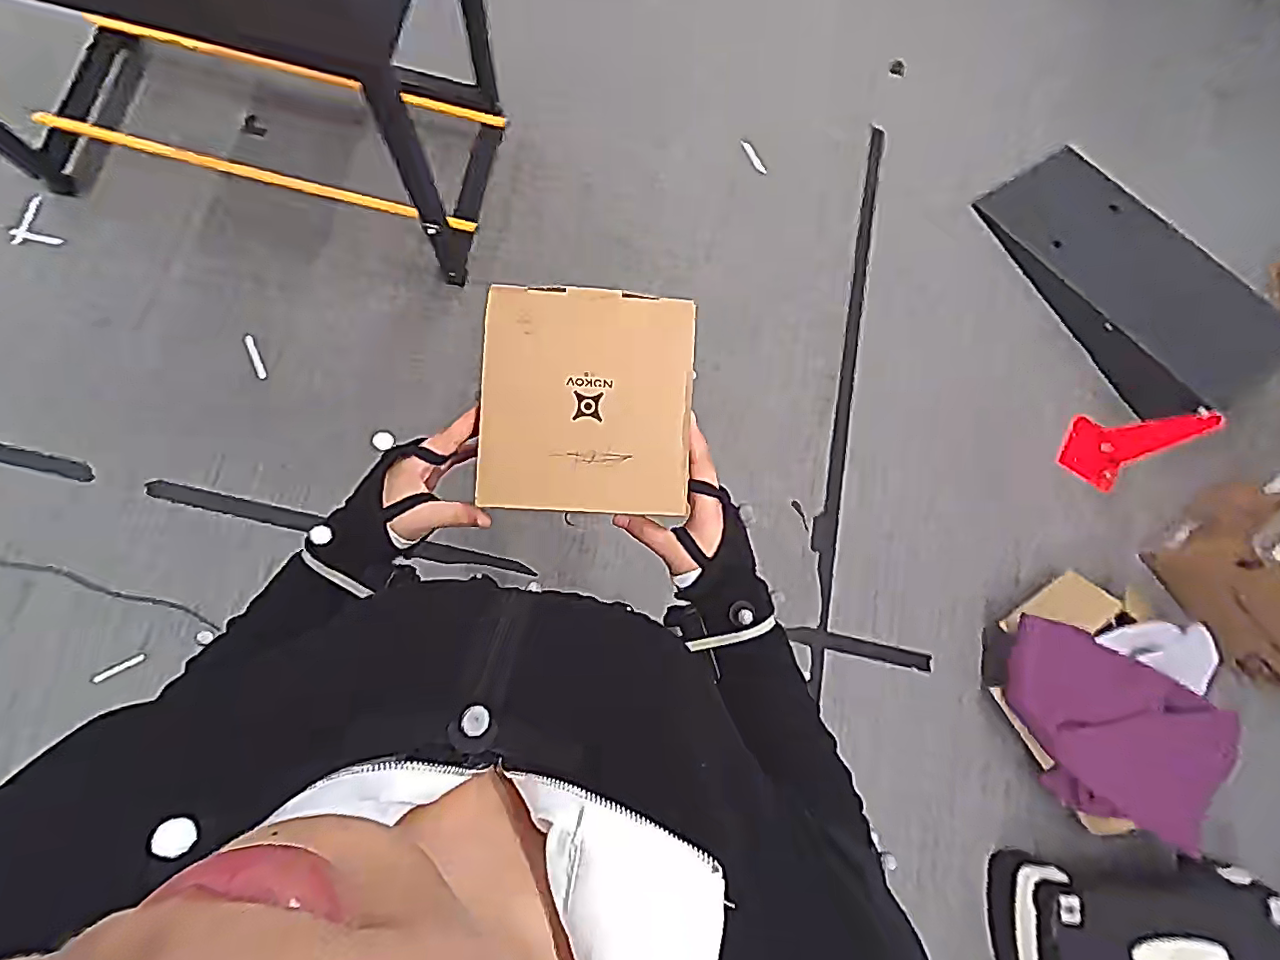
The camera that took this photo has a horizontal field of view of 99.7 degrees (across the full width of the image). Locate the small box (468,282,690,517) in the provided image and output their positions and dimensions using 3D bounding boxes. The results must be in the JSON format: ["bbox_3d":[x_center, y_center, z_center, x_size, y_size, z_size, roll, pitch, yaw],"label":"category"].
[{"bbox_3d":[-0.052,-0.059,0.496,0.168,0.176,0.179,2,89,-5],"label":"small box"}]
